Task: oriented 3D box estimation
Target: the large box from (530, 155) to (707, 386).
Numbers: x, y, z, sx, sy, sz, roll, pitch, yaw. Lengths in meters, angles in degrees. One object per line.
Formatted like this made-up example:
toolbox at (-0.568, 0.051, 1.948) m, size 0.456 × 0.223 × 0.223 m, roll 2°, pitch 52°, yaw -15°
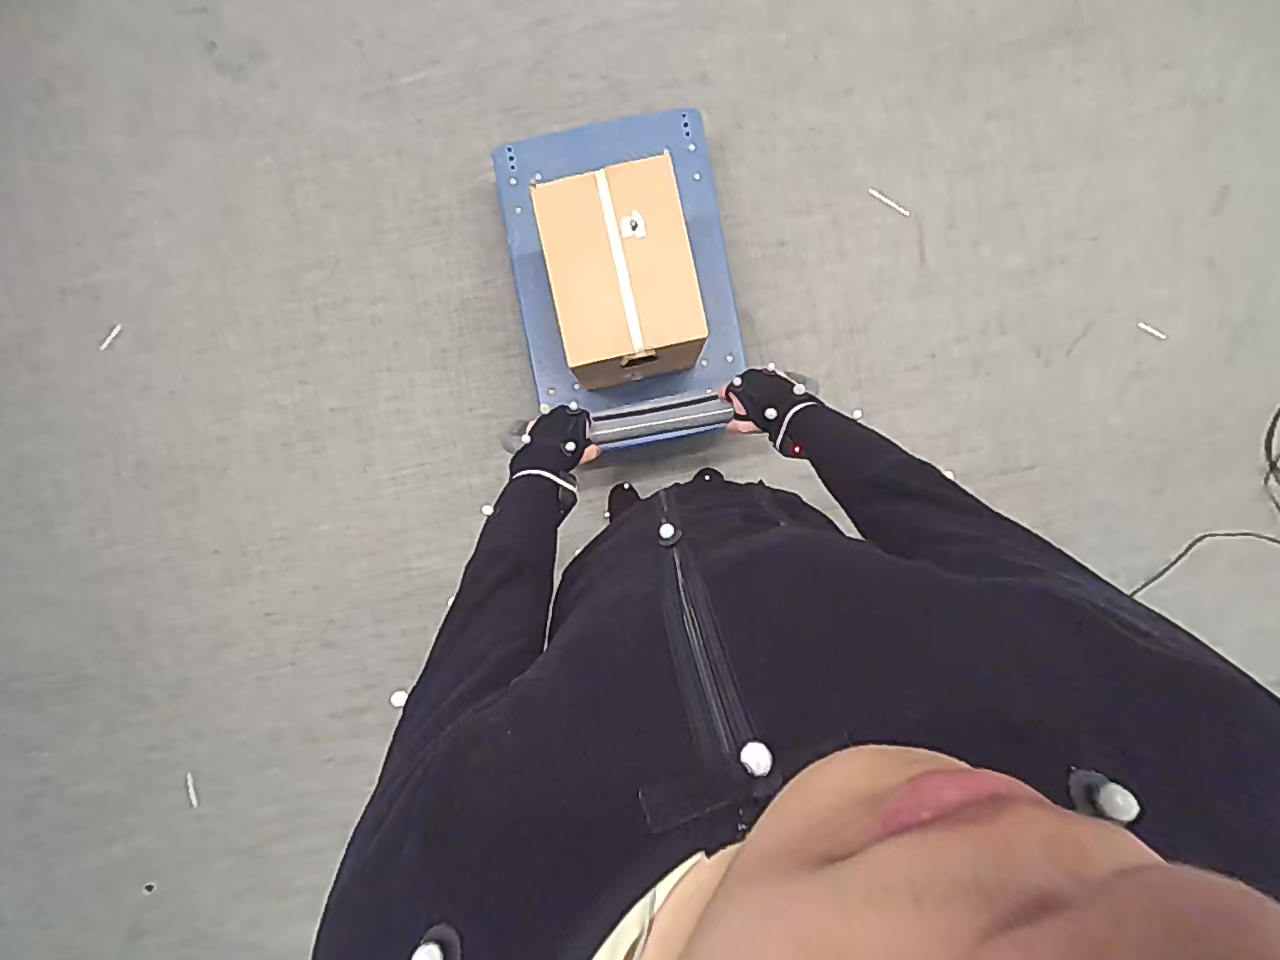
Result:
large box at (-0.041, -0.478, 1.321) m, size 0.320 × 0.320 × 0.408 m, roll -13°, pitch 90°, yaw 1°
